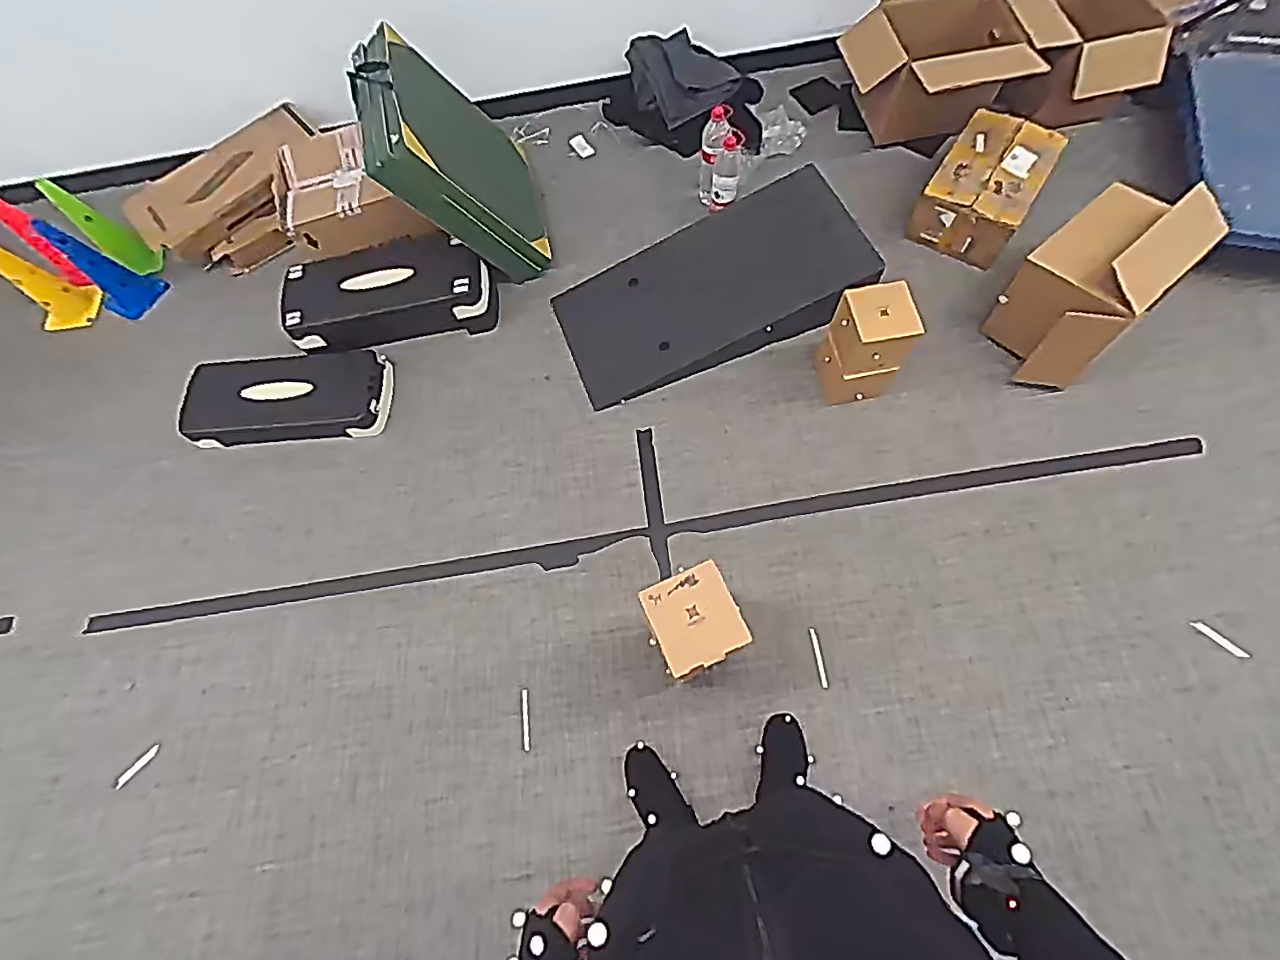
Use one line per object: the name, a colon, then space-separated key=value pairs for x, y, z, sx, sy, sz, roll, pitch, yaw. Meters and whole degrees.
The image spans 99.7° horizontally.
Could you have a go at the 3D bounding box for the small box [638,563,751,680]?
small box: x=0.109 y=0.294 z=1.111 sx=0.168 sy=0.176 sz=0.179 roll=-23 pitch=70 yaw=-5
